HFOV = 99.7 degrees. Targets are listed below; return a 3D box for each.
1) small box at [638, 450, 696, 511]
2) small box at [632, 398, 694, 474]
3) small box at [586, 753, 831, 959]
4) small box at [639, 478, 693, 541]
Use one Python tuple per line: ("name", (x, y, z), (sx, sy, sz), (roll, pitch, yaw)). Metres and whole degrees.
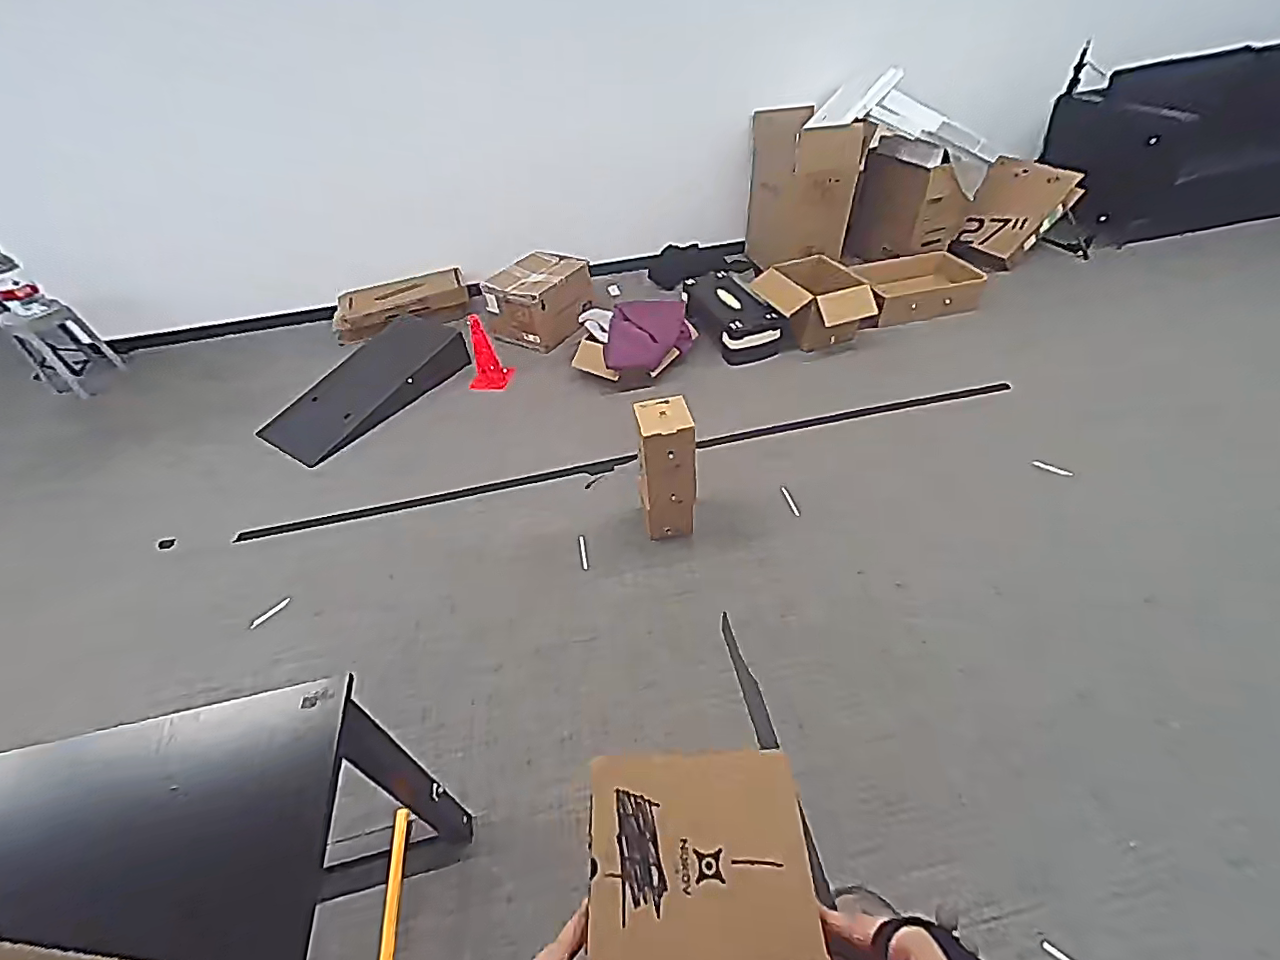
("small box", (0.090, -0.019, 1.851), (0.168, 0.176, 0.179), (-11, 44, -4))
("small box", (0.077, -0.136, 1.737), (0.168, 0.176, 0.179), (-11, 44, -4))
("small box", (0.051, 0.356, 0.478), (0.179, 0.176, 0.168), (-2, 47, 1))
("small box", (0.094, 0.096, 1.970), (0.168, 0.176, 0.179), (-12, 45, -5))
